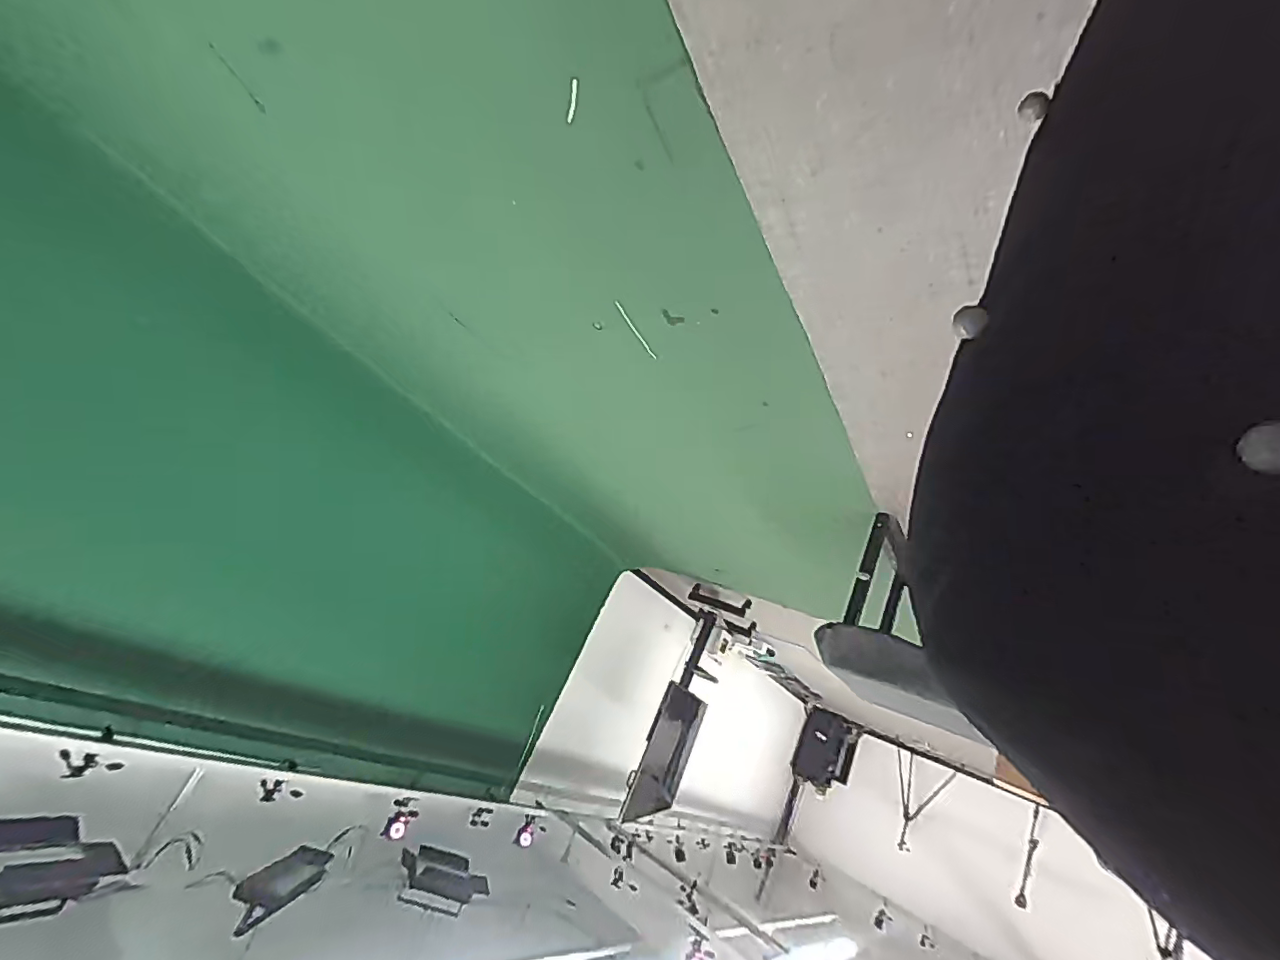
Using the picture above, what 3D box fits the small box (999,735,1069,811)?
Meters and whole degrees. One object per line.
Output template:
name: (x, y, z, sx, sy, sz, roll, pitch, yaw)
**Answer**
small box: (1.350, 1.001, 1.853, 0.179, 0.176, 0.168, 11, 155, 40)
